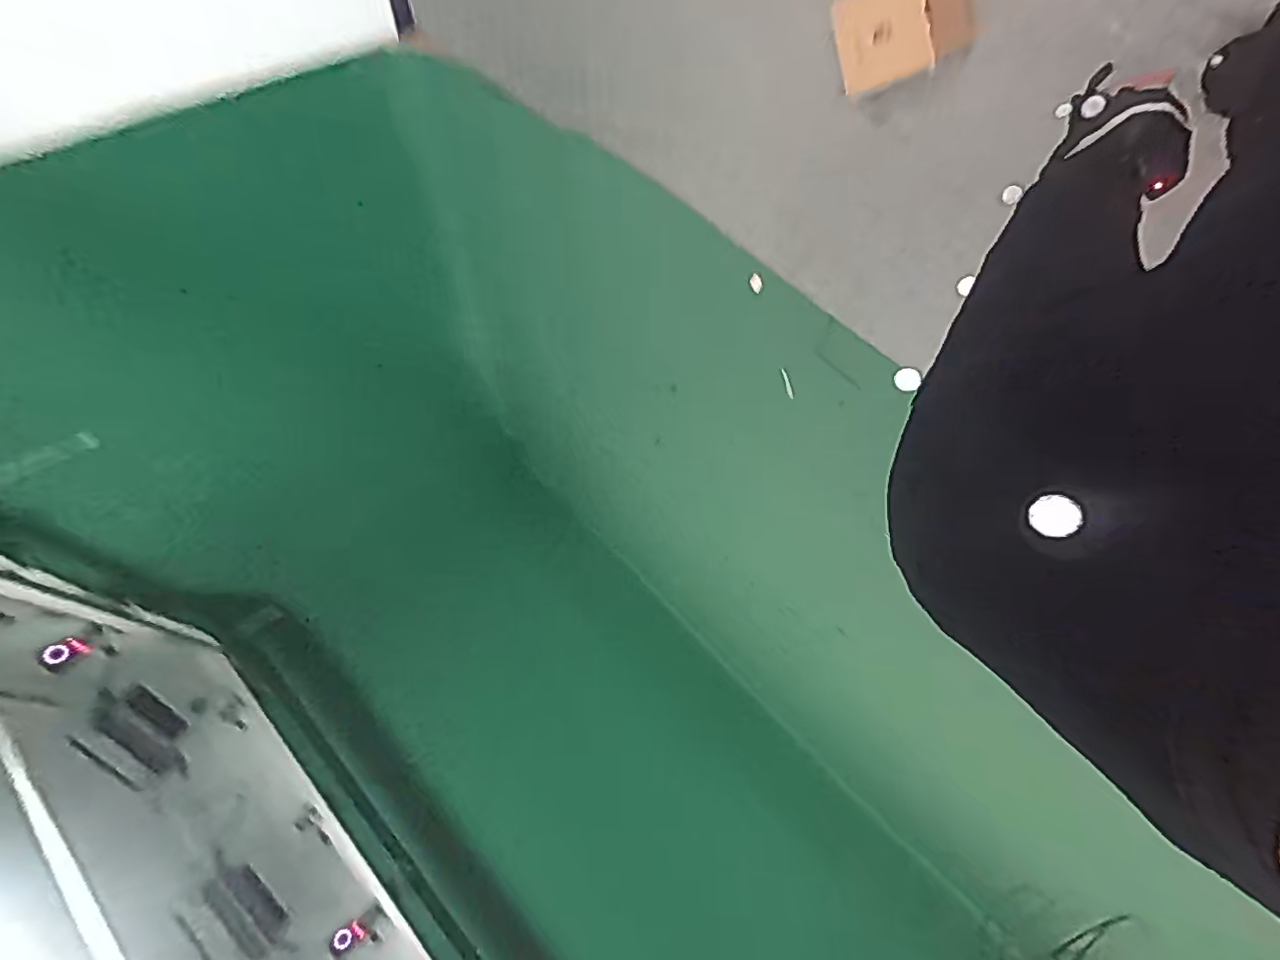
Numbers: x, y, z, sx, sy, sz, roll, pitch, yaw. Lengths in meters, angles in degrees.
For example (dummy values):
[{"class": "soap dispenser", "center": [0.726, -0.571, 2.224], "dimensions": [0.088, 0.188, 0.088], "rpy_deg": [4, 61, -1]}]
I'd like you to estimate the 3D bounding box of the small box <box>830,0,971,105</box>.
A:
[{"class": "small box", "center": [0.493, -0.848, 1.012], "dimensions": [0.179, 0.176, 0.168], "rpy_deg": [16, 138, 53]}]
